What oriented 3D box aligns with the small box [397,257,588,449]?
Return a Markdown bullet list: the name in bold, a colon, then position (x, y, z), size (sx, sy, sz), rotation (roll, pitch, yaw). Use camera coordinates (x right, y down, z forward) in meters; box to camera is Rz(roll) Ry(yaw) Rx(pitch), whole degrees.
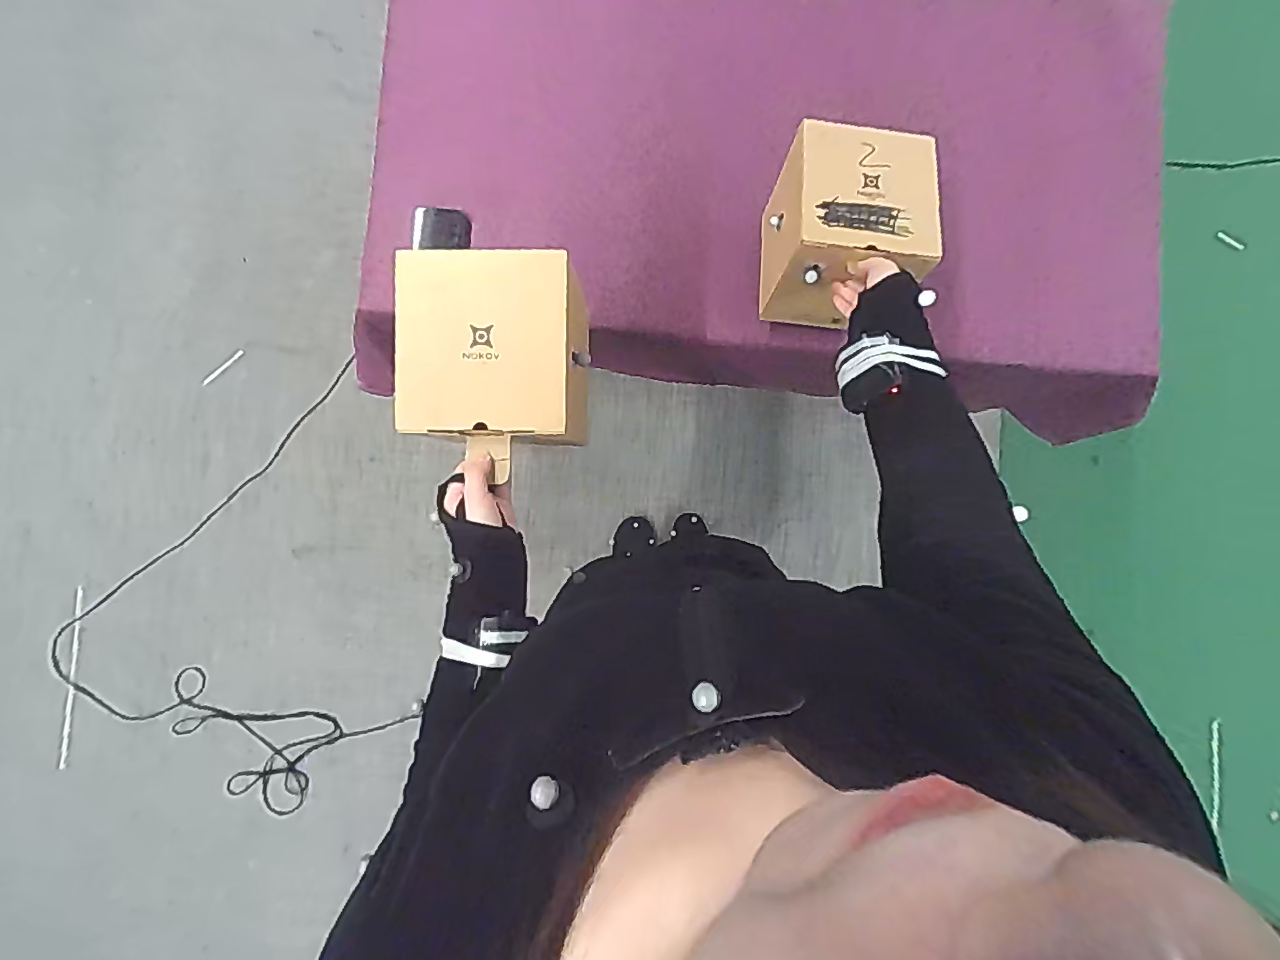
- **small box**: position (-0.151, -0.128, 0.601), size (0.168, 0.176, 0.179), rotation (0, 91, 1)
